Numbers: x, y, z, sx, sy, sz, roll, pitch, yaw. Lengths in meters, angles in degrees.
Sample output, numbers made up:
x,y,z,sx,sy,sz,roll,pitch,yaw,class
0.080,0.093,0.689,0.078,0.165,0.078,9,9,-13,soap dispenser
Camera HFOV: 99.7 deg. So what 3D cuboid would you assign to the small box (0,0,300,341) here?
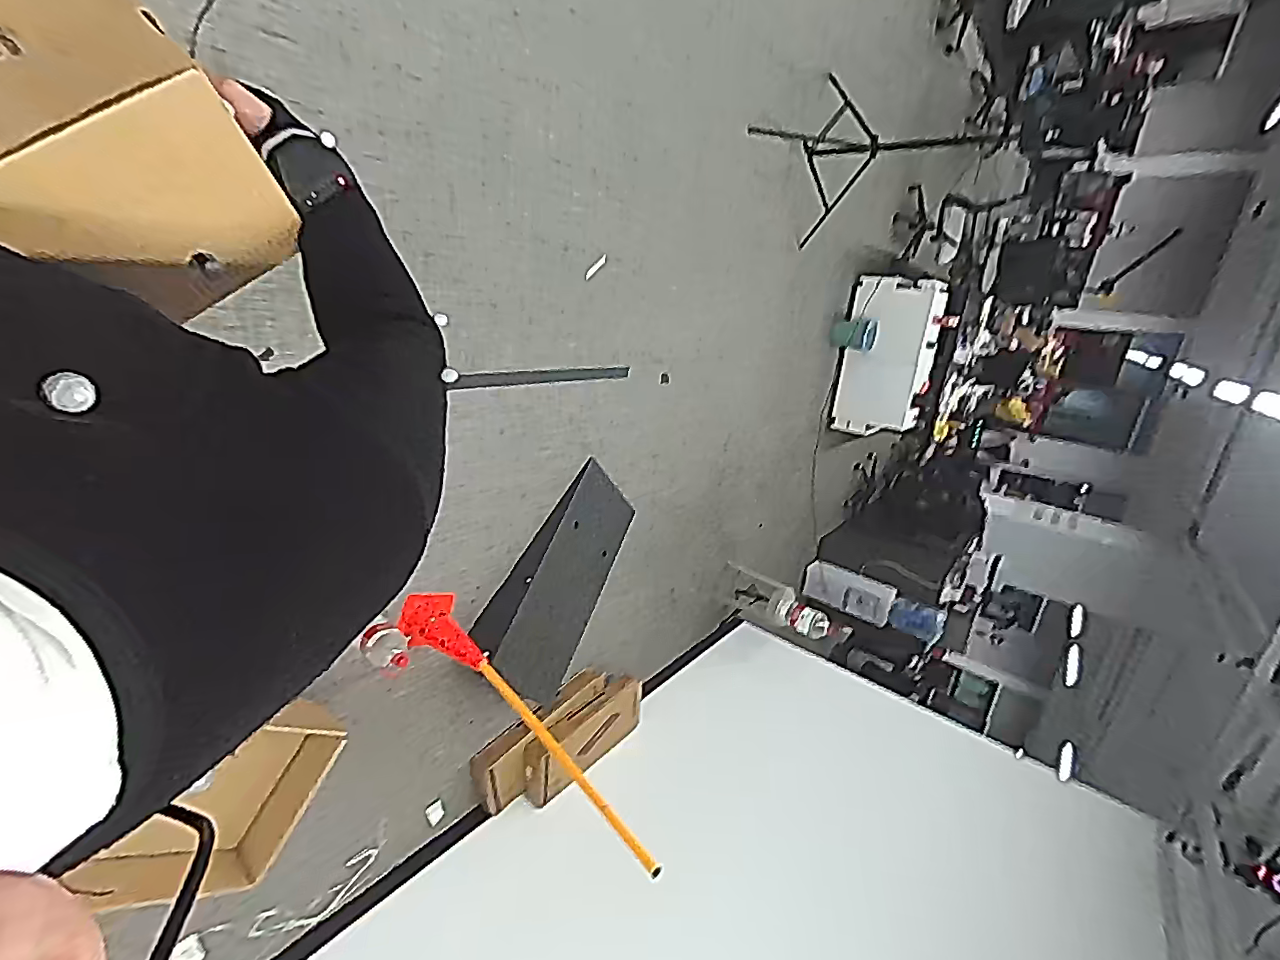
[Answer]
x,y,z,sx,sy,sz,roll,pitch,yaw,class
-0.419,-0.252,0.440,0.179,0.168,0.176,-43,172,-16,small box
